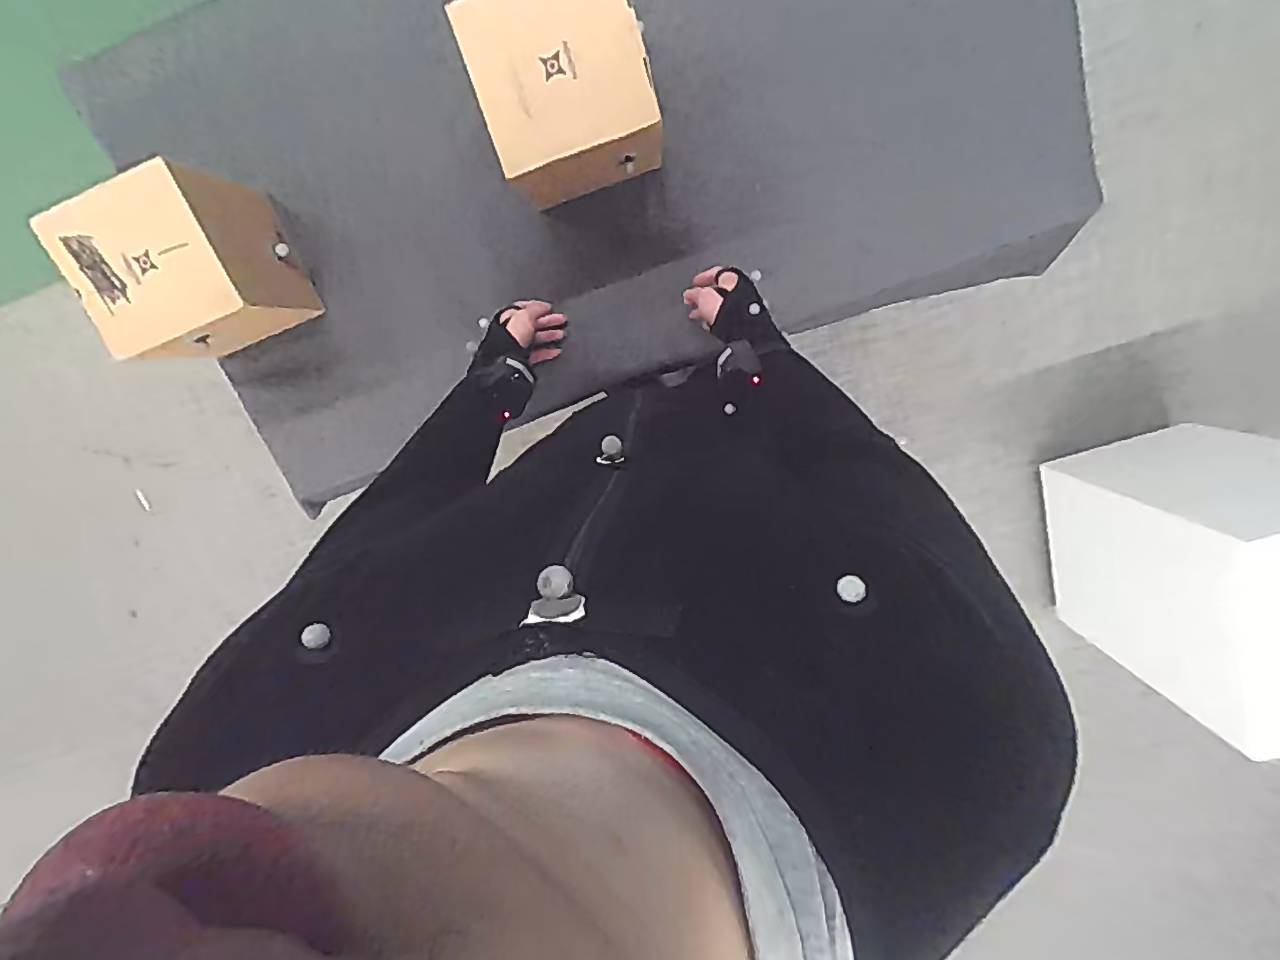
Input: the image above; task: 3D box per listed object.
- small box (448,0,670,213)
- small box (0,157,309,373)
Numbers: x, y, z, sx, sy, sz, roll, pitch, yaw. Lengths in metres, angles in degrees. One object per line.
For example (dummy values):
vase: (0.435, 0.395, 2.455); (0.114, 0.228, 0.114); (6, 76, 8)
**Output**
small box: (-0.078, -0.424, 0.602); (0.179, 0.176, 0.168); (-19, 104, 5)
small box: (-0.544, -0.236, 0.635); (0.179, 0.176, 0.168); (-22, 105, 3)
